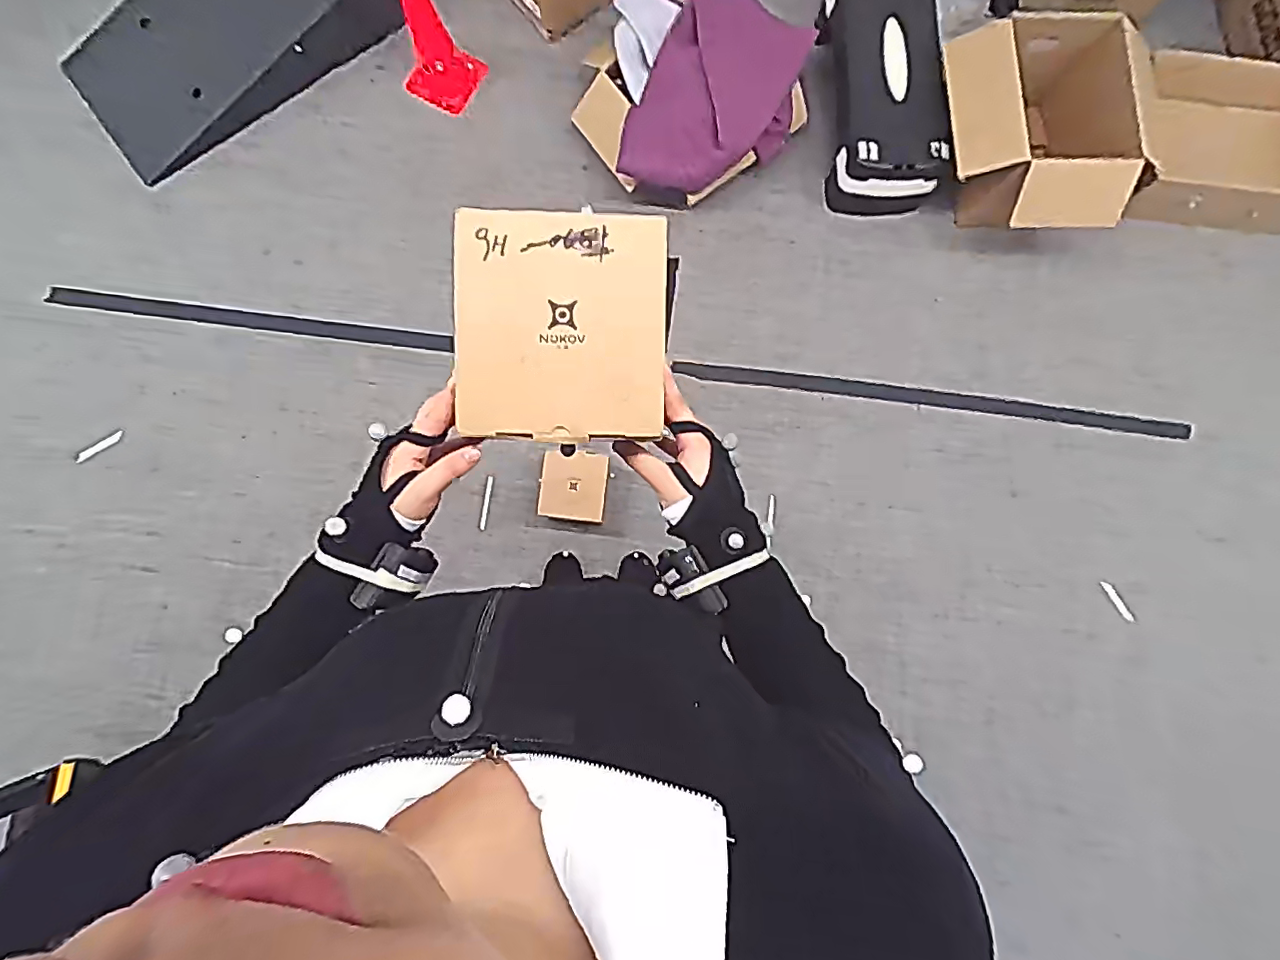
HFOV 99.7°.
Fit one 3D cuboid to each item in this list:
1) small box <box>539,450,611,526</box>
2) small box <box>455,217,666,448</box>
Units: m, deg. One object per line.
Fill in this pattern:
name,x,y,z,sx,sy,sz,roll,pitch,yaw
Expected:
small box,-0.167,0.026,1.447,0.168,0.176,0.179,6,84,0
small box,-0.064,-0.121,0.503,0.168,0.176,0.179,0,94,-3
